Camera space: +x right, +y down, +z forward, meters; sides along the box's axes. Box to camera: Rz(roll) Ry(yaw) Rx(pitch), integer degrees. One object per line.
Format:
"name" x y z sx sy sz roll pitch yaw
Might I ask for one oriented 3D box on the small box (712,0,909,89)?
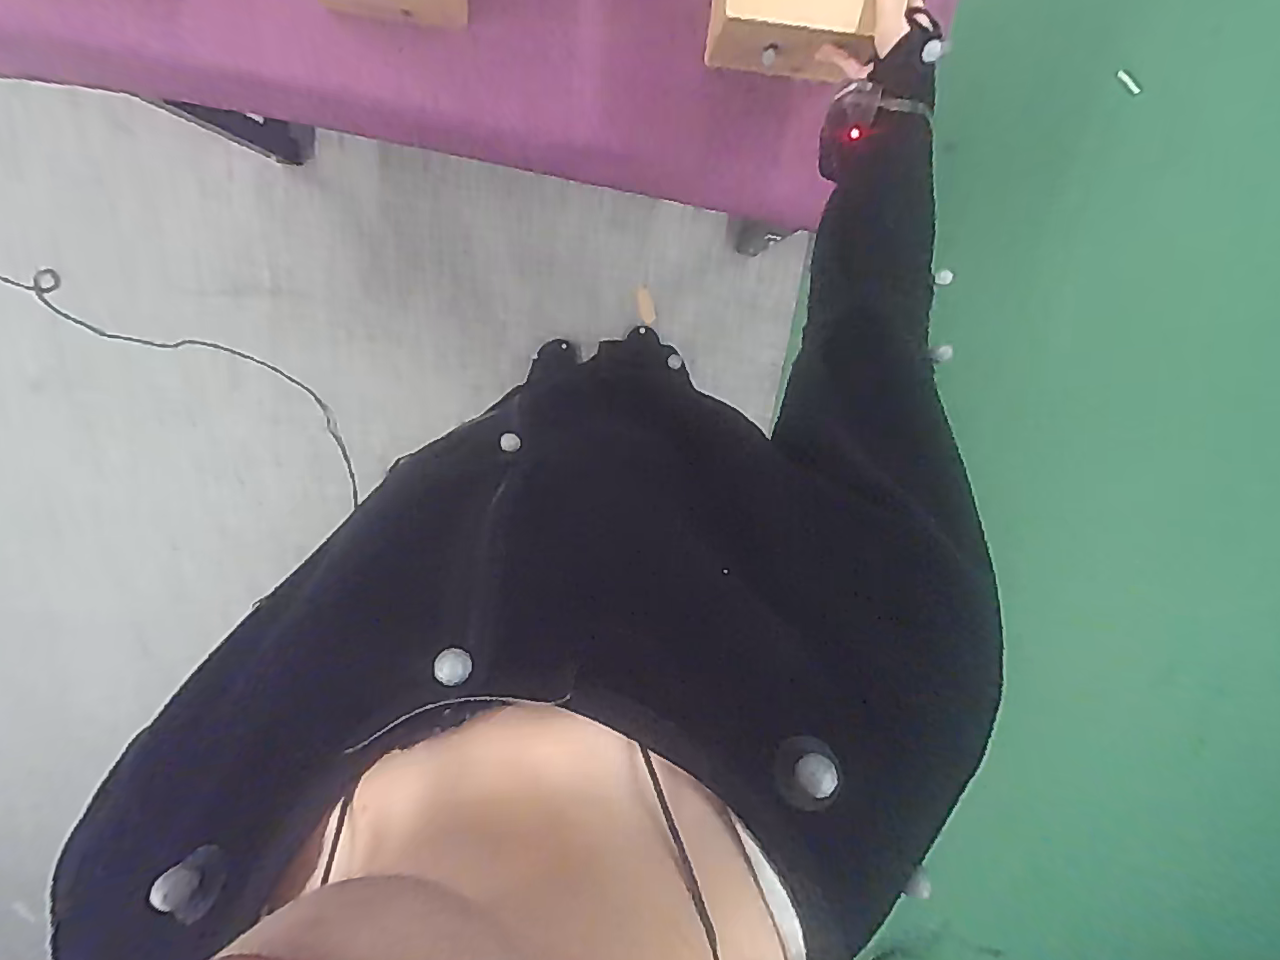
"small box" 0.170 -0.517 0.539 0.168 0.176 0.179 6 114 -2
